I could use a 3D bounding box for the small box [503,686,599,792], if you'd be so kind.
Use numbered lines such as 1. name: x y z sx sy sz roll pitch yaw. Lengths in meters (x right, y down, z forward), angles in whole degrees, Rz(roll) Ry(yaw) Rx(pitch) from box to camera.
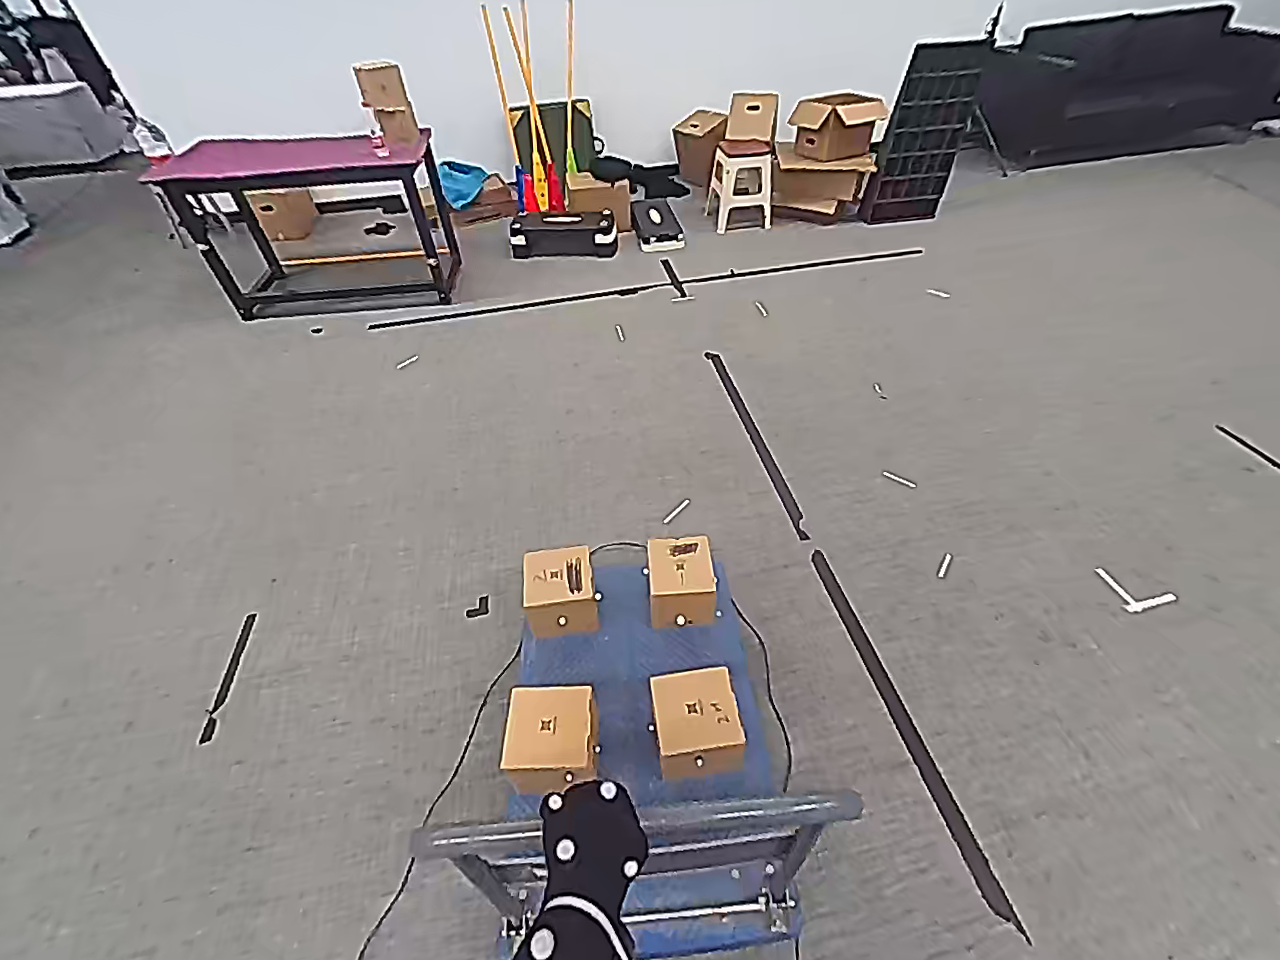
1. small box: -0.185 0.567 1.179 0.179 0.176 0.168 -1 45 0

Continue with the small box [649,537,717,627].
1. small box: 0.108 0.274 1.449 0.168 0.176 0.179 -3 47 0

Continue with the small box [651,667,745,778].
1. small box: 0.123 0.537 1.191 0.179 0.176 0.168 -7 46 -3
